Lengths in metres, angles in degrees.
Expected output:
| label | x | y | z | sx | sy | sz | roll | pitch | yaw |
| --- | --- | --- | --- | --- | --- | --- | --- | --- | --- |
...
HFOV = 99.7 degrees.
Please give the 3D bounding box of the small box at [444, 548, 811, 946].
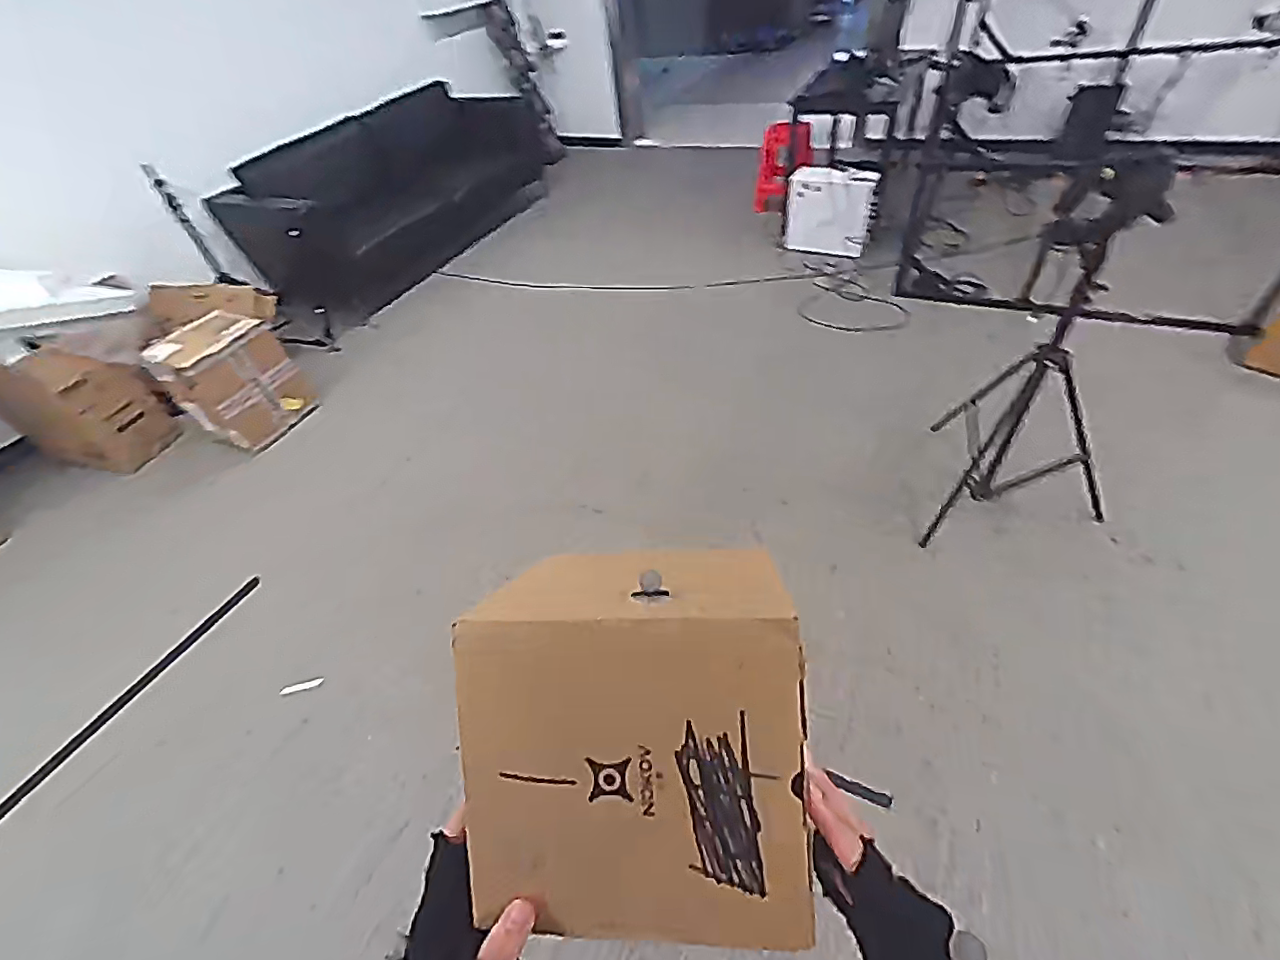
| label | x | y | z | sx | sy | sz | roll | pitch | yaw |
| --- | --- | --- | --- | --- | --- | --- | --- | --- | --- |
| small box | 0.002 | 0.139 | 0.343 | 0.179 | 0.168 | 0.176 | -3 | 2 | 9 |
